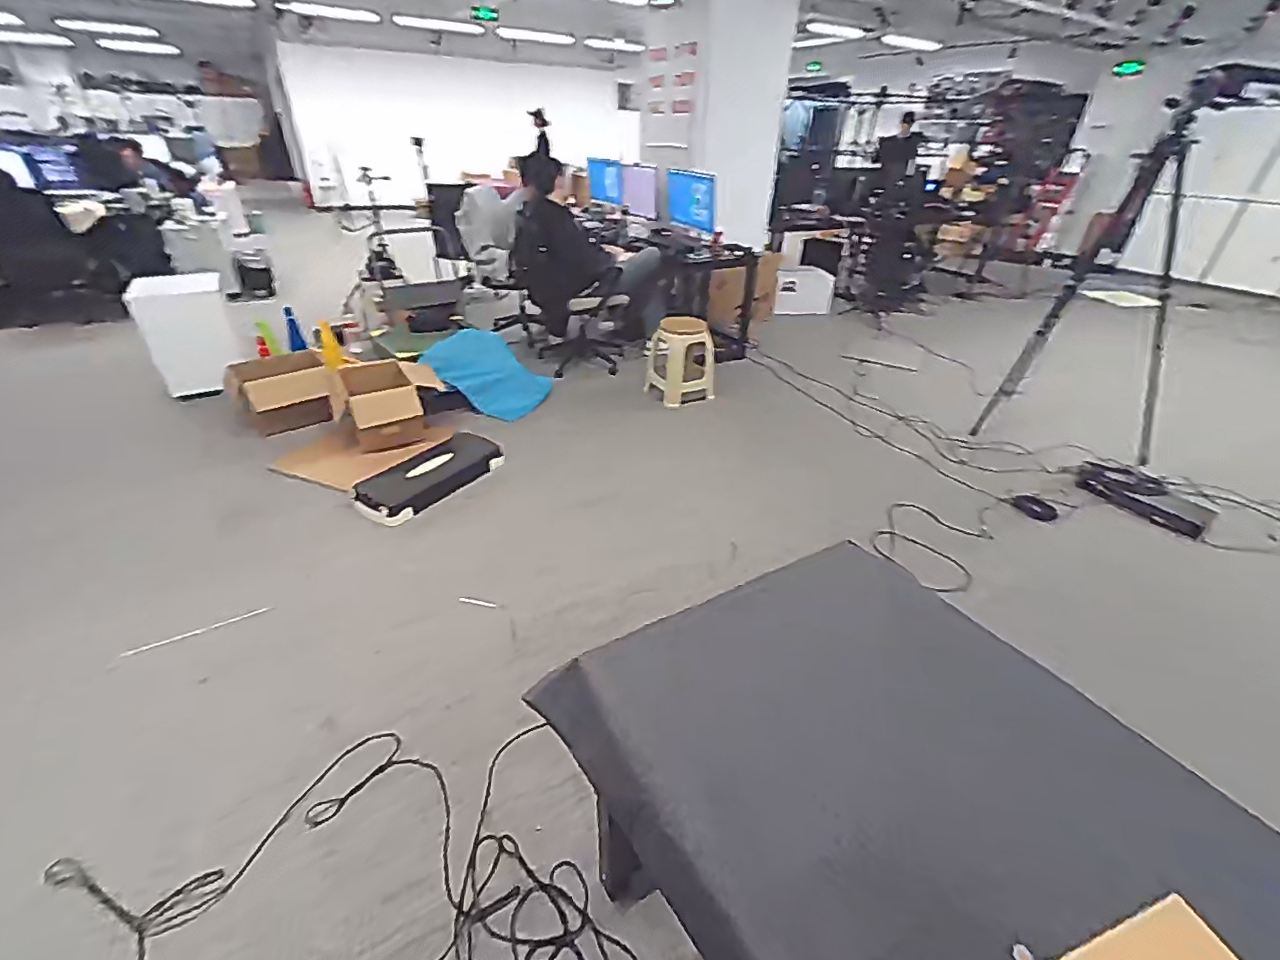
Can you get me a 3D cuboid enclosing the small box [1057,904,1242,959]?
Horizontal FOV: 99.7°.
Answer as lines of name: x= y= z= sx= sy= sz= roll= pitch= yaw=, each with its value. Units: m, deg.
small box: x=0.360 y=0.446 z=0.372 sx=0.168 sy=0.176 sz=0.179 roll=-11 pitch=39 yaw=-15
